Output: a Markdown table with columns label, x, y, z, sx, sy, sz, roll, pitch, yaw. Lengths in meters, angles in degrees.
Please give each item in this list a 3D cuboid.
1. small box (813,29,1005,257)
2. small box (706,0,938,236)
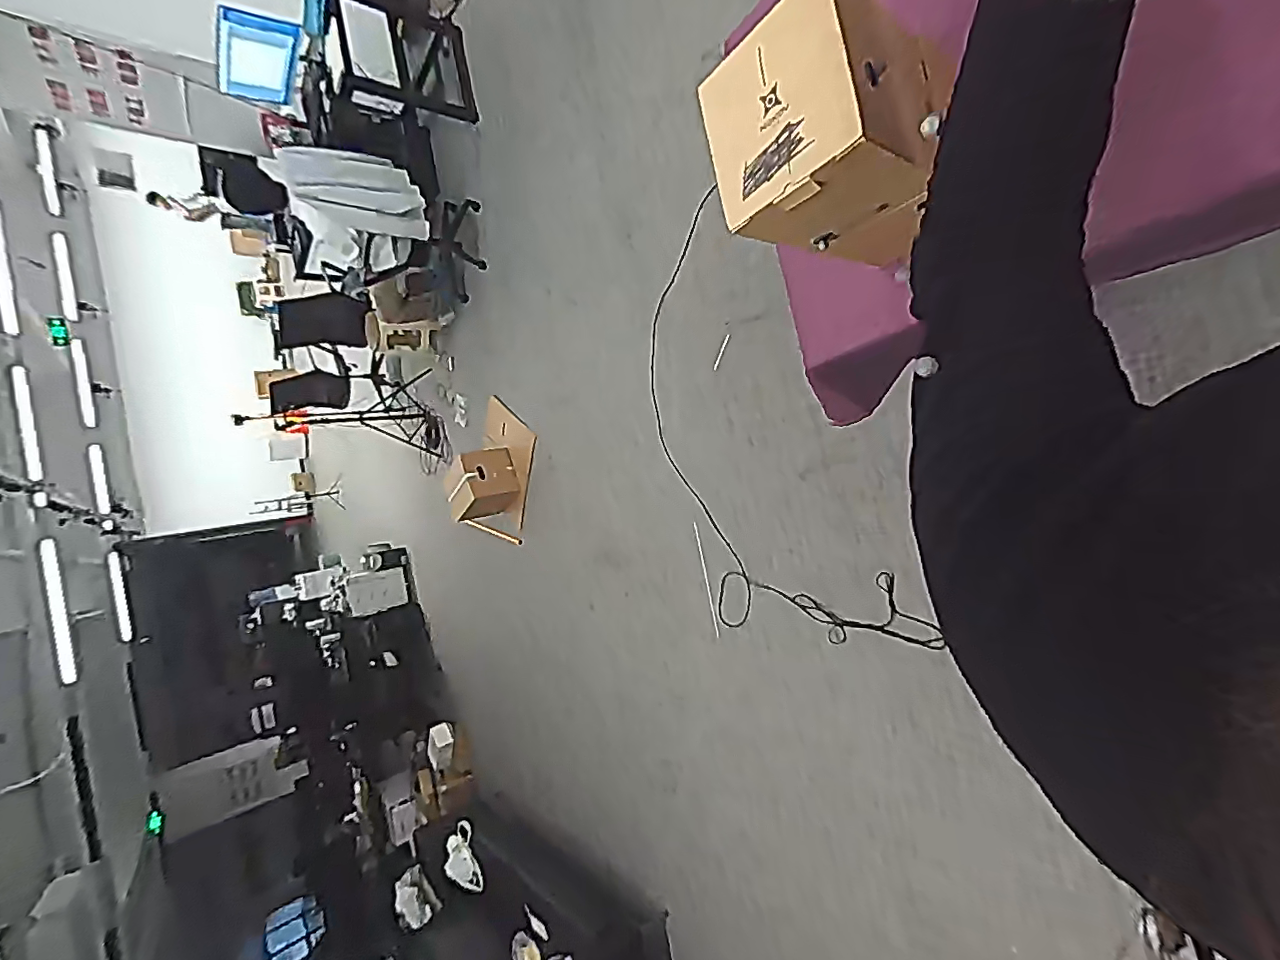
| label | x | y | z | sx | sy | sz | roll | pitch | yaw |
| --- | --- | --- | --- | --- | --- | --- | --- | --- | --- |
| small box | 0.333 | -0.411 | 0.701 | 0.179 | 0.176 | 0.168 | -14 | 86 | 52 |
| small box | 0.202 | -0.393 | 0.601 | 0.168 | 0.176 | 0.179 | -15 | 84 | 52 |
